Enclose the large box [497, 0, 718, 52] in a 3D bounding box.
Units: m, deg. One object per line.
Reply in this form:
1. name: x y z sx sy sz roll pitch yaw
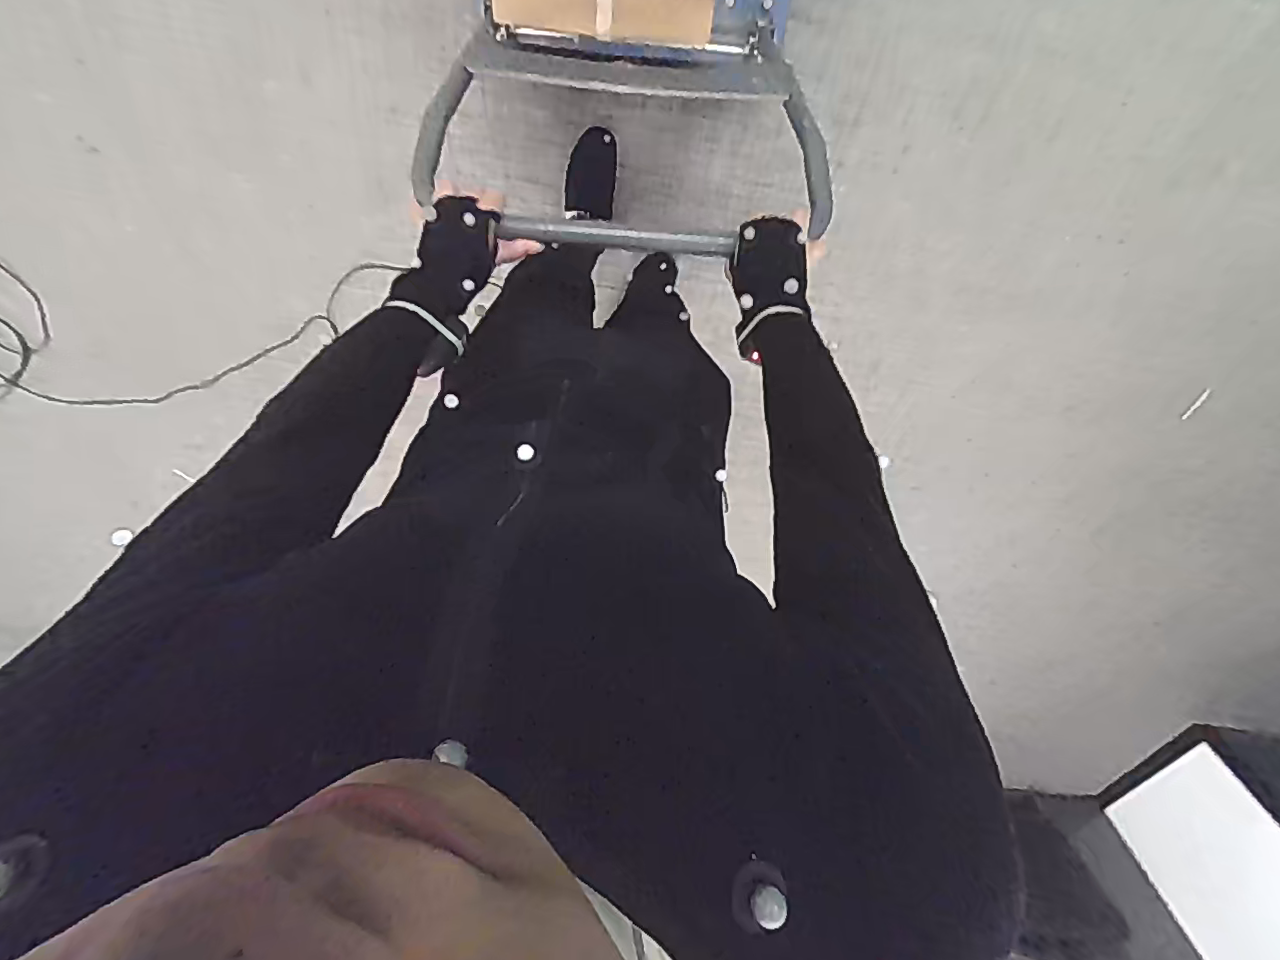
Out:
1. large box: -0.033 -0.882 0.745 0.320 0.320 0.408 3 138 -4
